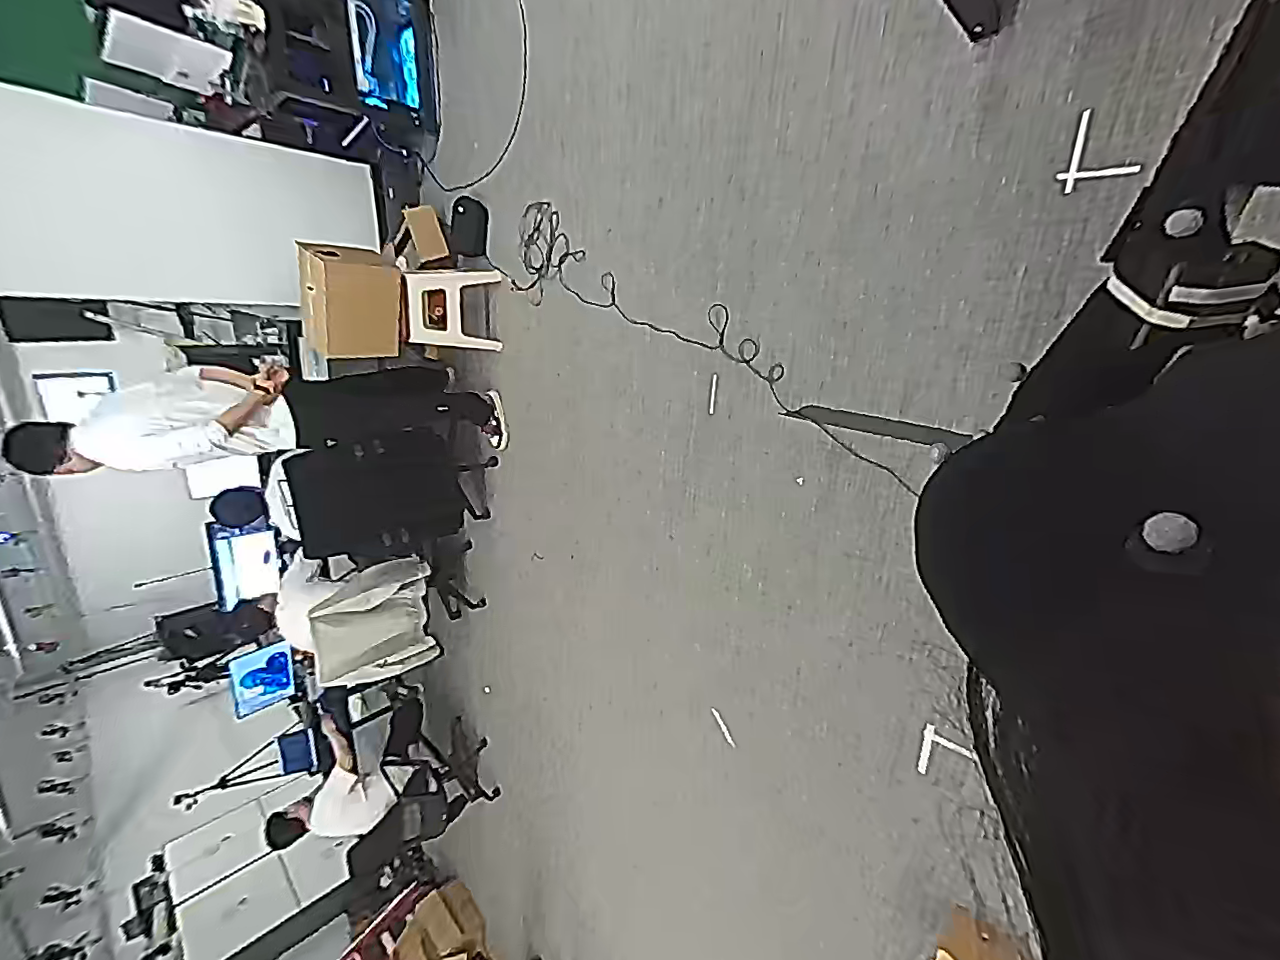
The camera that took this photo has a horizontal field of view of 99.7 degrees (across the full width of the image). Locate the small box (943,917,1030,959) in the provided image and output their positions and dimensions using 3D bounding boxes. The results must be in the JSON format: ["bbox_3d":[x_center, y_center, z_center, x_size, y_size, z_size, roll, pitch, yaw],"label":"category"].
[{"bbox_3d":[0.966,1.393,1.525,0.179,0.176,0.168,23,116,41],"label":"small box"}]
